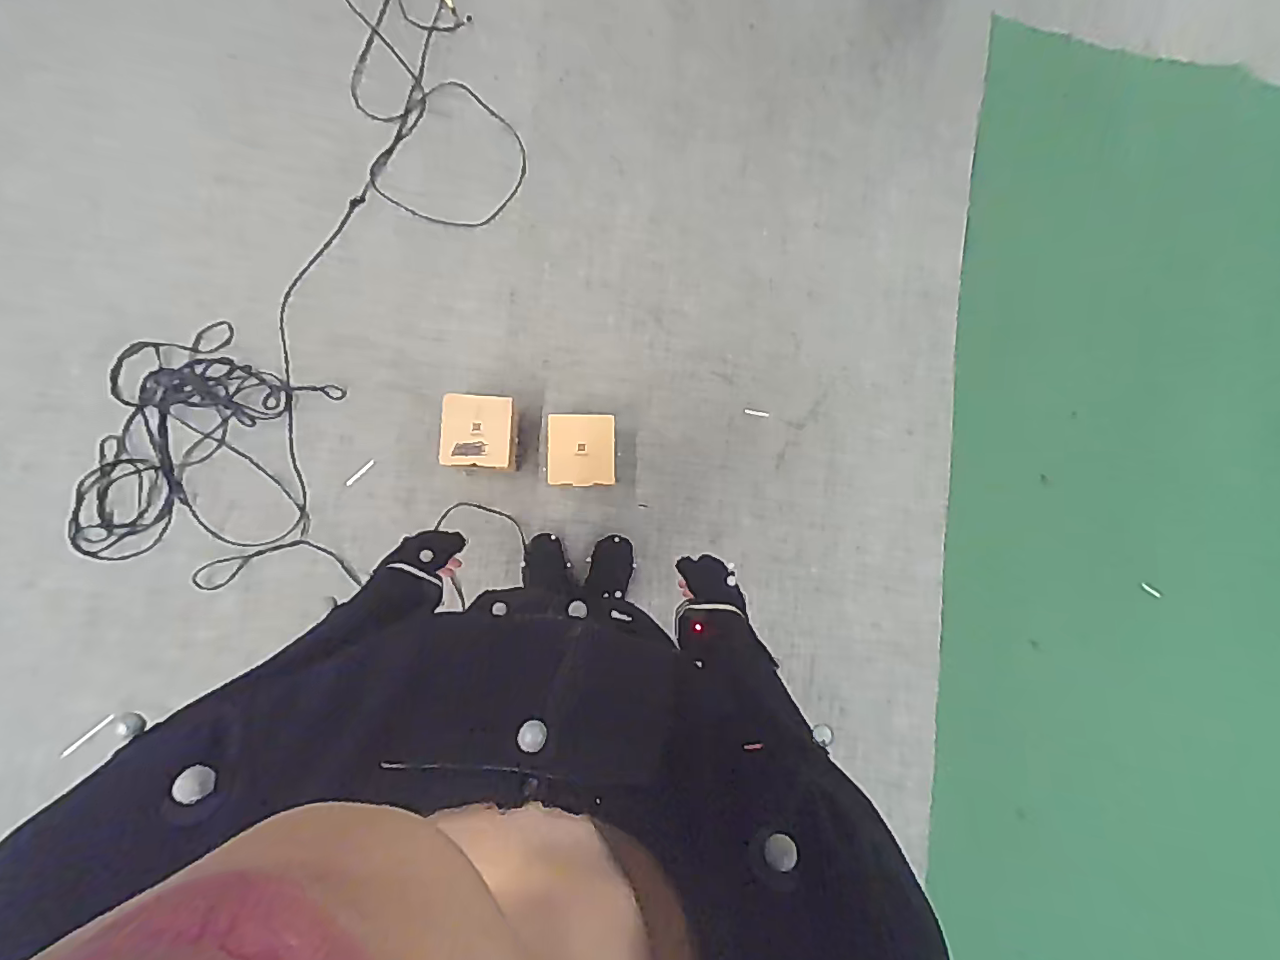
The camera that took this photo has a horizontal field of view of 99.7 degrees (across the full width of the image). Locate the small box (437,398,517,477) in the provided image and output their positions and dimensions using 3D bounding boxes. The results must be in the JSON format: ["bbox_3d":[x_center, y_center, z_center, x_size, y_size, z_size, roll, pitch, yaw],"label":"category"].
[{"bbox_3d":[-0.407,-0.102,1.376,0.168,0.176,0.179,3,86,-7],"label":"small box"}]

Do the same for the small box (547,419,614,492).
[{"bbox_3d":[-0.157,-0.059,1.406,0.168,0.176,0.179,0,88,-7],"label":"small box"}]
